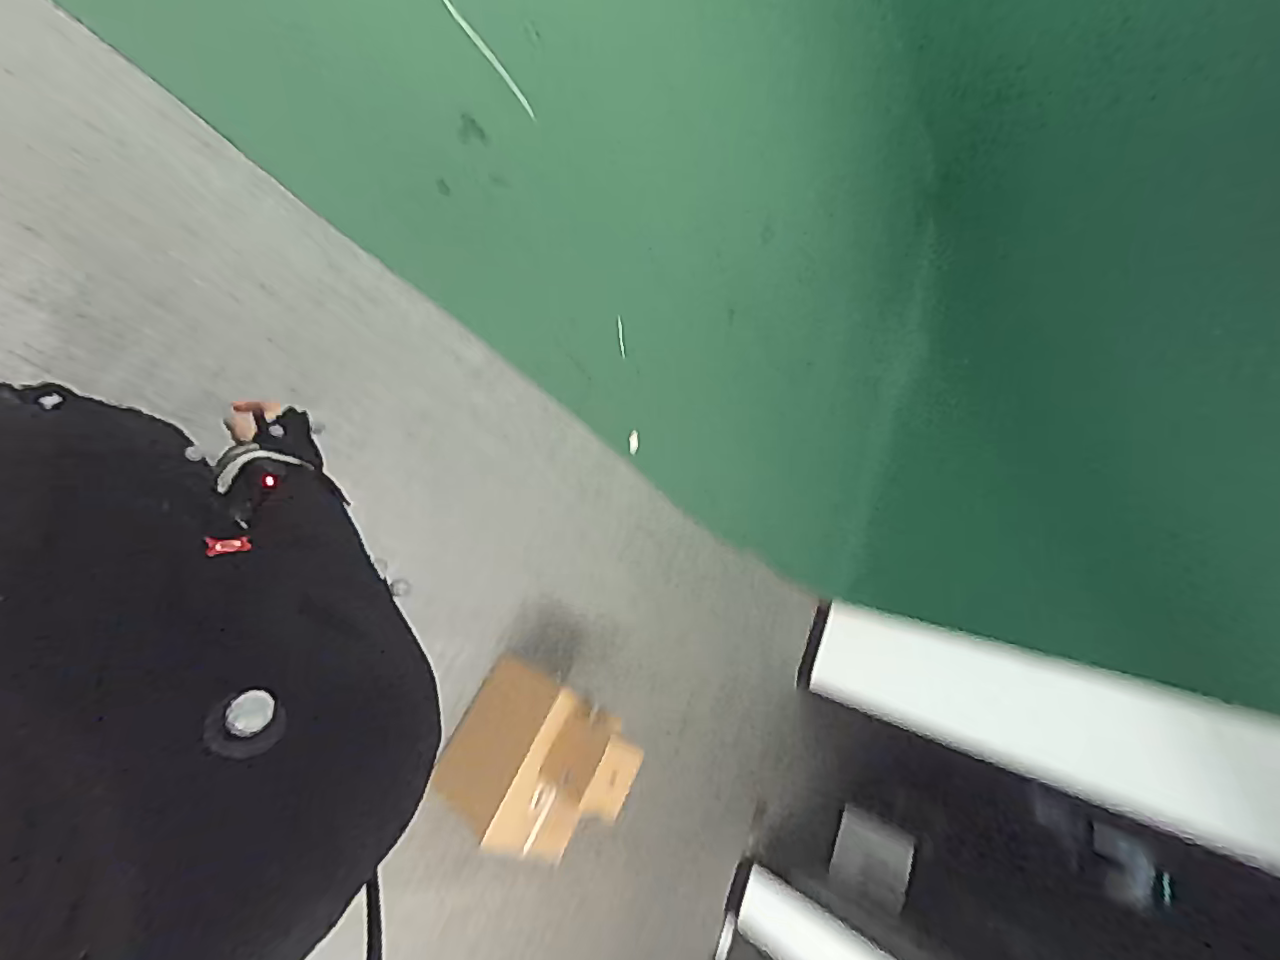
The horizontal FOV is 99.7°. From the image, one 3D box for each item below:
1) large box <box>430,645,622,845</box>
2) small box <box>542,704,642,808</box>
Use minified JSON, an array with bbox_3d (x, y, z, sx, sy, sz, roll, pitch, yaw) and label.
[{"bbox_3d":[-0.328,0.763,1.587,0.320,0.320,0.408,45,66,-39],"label":"large box"},{"bbox_3d":[-0.132,0.727,1.433,0.168,0.176,0.179,45,64,-41],"label":"small box"}]
